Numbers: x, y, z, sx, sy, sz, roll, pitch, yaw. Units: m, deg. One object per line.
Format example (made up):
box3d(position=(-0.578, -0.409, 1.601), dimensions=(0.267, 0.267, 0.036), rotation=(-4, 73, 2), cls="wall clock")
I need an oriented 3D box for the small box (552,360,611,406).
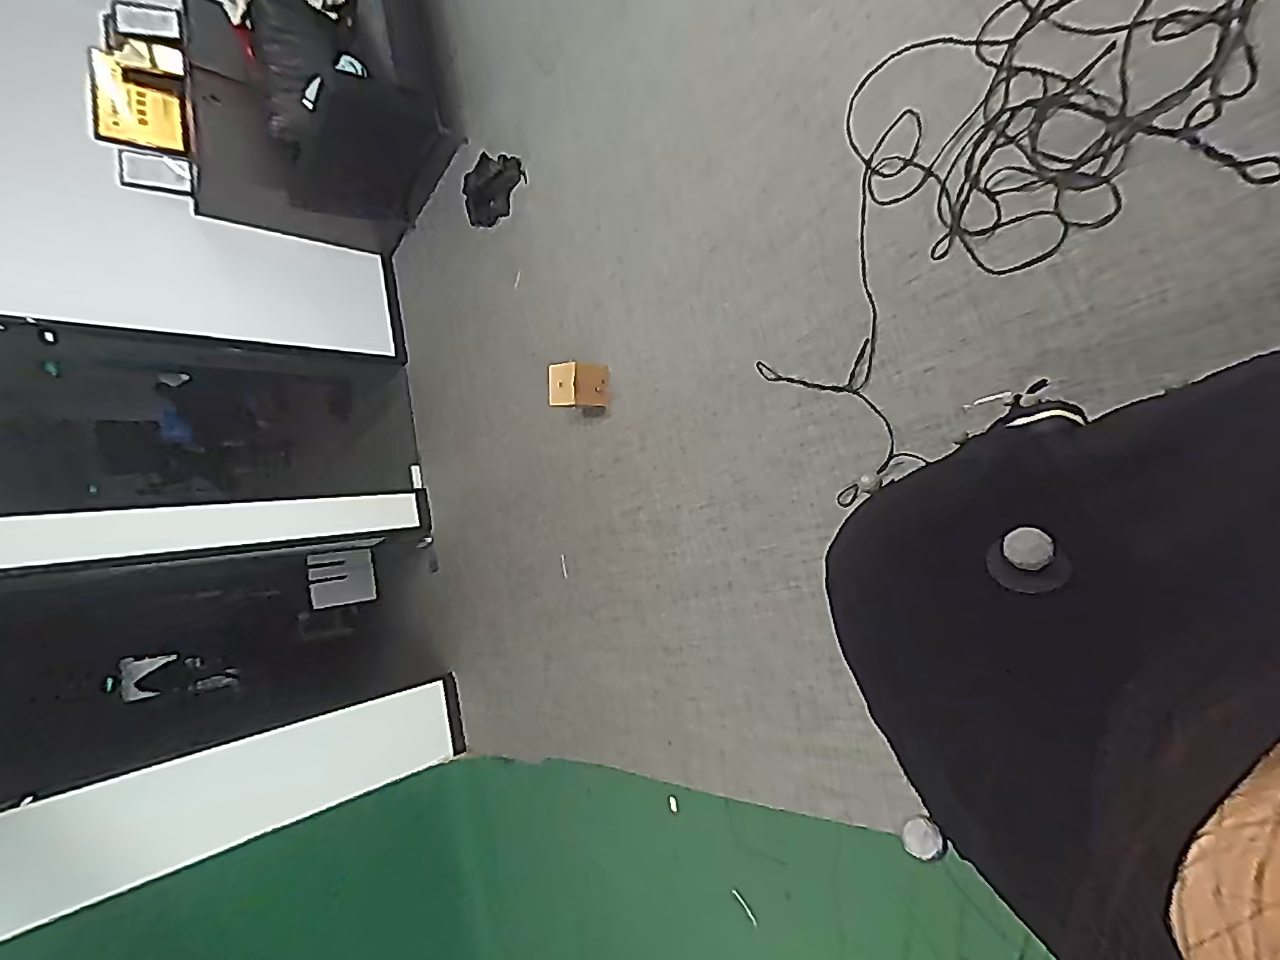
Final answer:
box3d(position=(-0.236, -0.386, 2.184), dimensions=(0.179, 0.176, 0.168), rotation=(5, 96, 47), cls="small box")
